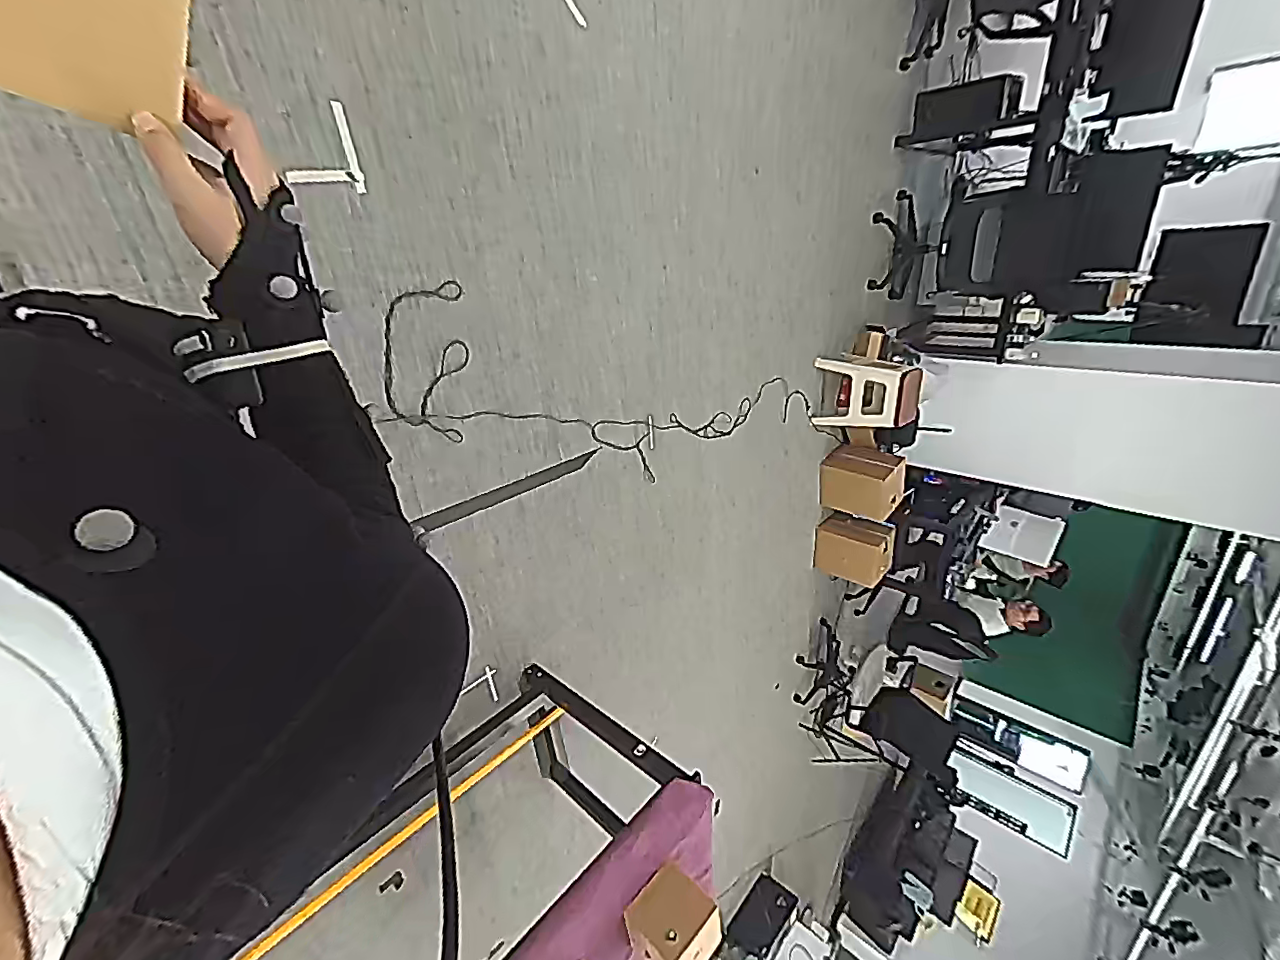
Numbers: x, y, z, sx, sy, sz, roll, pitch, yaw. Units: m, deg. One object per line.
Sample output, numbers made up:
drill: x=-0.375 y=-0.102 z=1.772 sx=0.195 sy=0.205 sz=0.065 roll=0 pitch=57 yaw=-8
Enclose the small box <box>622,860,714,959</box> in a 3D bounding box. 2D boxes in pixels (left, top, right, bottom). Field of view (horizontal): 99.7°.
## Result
small box: x=0.067 y=1.132 z=1.373 sx=0.179 sy=0.176 sz=0.168 roll=-28 pitch=124 yaw=-37
